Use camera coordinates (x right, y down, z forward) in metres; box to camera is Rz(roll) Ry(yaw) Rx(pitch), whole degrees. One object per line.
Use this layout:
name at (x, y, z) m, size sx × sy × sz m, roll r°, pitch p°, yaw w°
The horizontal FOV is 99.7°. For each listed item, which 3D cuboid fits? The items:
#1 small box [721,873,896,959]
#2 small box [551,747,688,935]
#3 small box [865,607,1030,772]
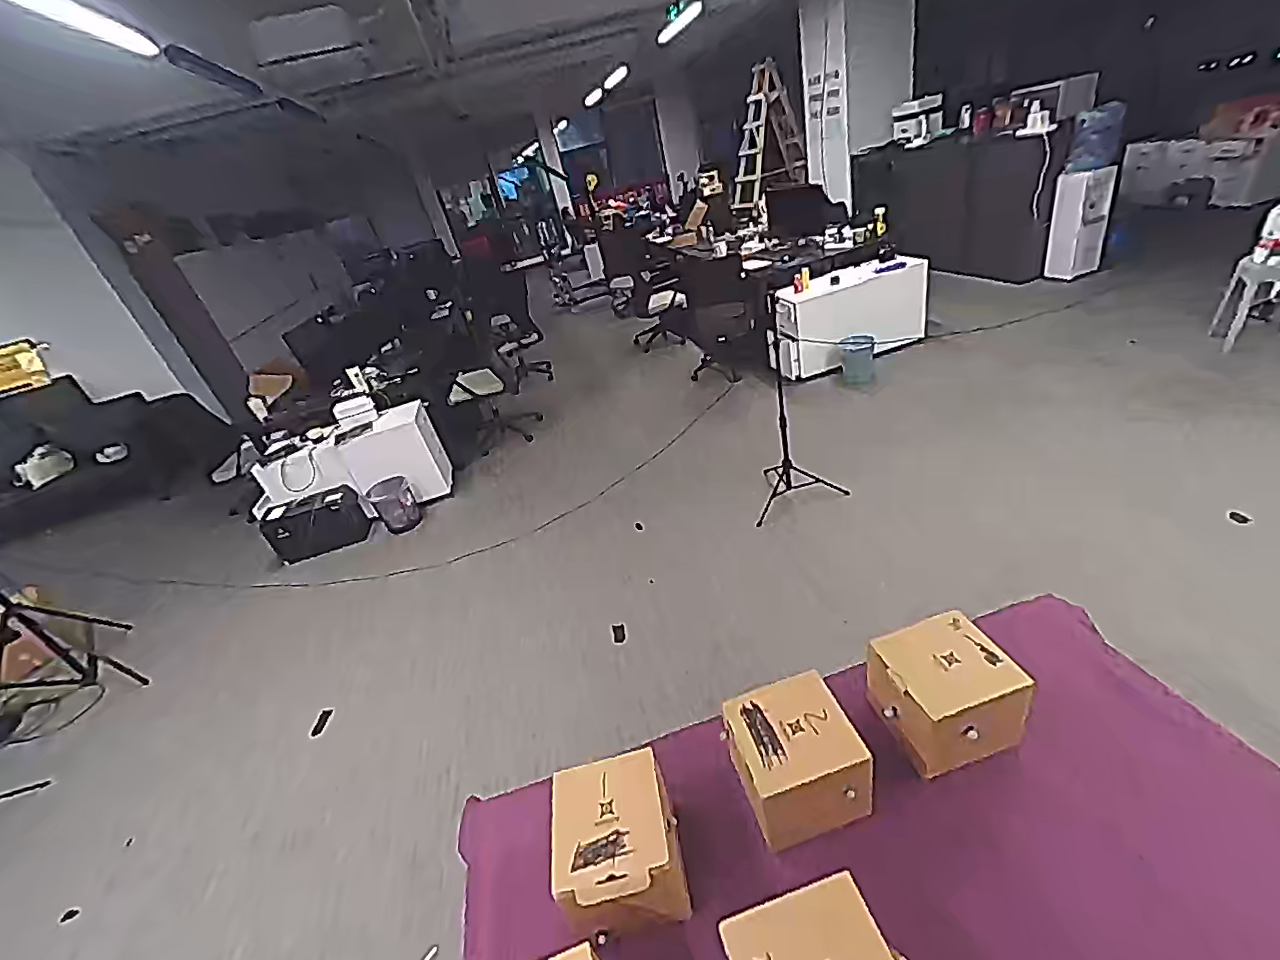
small box at (0.211, 0.608, 0.625) m, size 0.179 × 0.176 × 0.168 m, roll -19°, pitch 31°, yaw -5°
small box at (-0.032, 0.553, 0.824) m, size 0.168 × 0.176 × 0.179 m, roll -15°, pitch 31°, yaw 0°
small box at (0.506, 0.353, 0.909) m, size 0.179 × 0.176 × 0.168 m, roll -19°, pitch 33°, yaw -4°
